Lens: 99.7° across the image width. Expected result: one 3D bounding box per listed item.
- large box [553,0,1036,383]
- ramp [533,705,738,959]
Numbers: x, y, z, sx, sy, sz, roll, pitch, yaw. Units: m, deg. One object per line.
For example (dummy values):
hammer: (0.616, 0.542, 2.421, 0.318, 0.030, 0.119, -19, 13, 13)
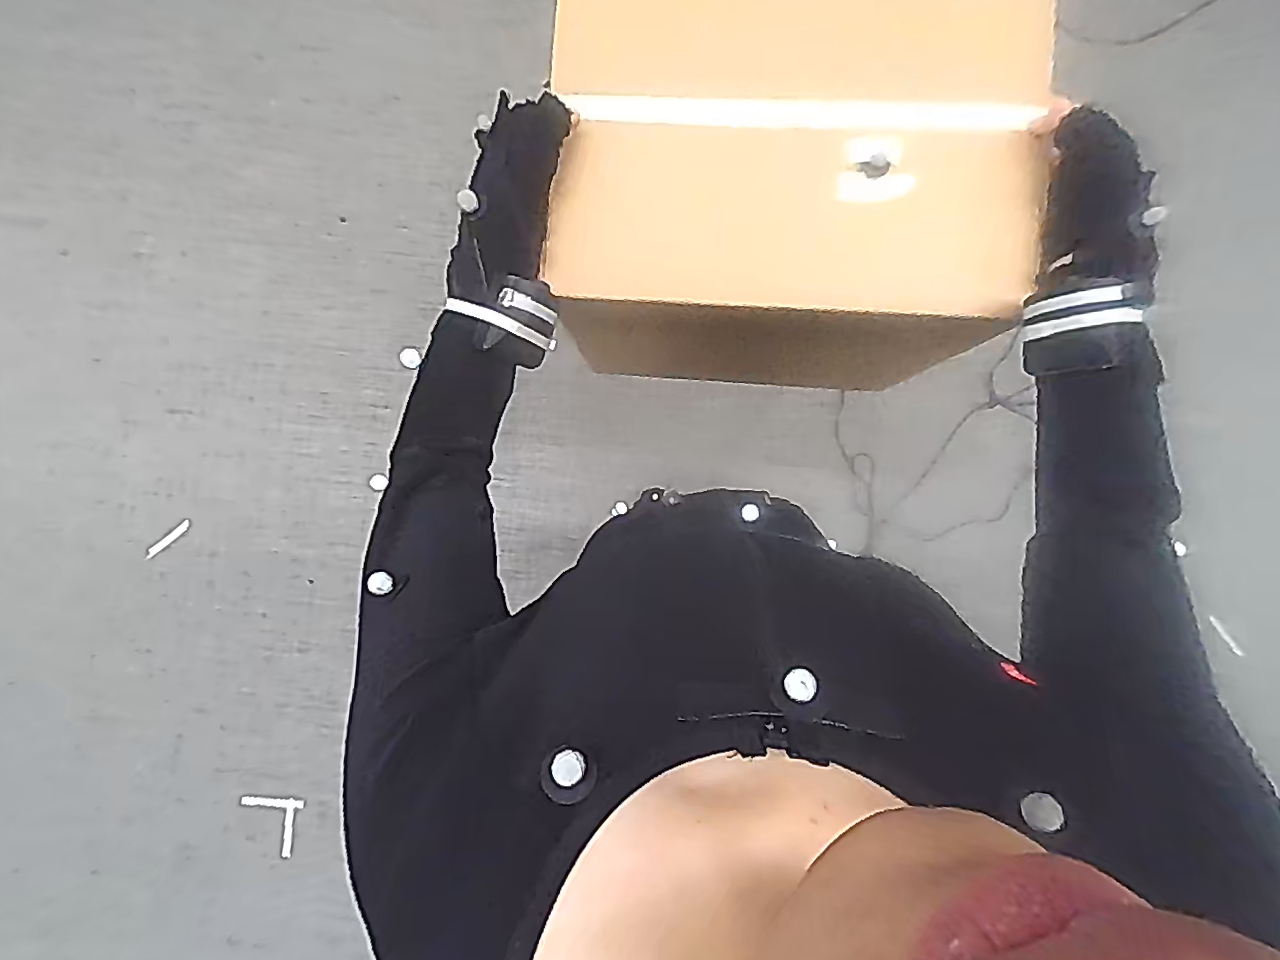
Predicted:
large box: (0.135, -0.298, 0.611, 0.408, 0.320, 0.320, 4, 89, 3)
ramp: (-0.020, 1.122, 1.376, 0.509, 0.206, 0.991, 3, 87, 3)
